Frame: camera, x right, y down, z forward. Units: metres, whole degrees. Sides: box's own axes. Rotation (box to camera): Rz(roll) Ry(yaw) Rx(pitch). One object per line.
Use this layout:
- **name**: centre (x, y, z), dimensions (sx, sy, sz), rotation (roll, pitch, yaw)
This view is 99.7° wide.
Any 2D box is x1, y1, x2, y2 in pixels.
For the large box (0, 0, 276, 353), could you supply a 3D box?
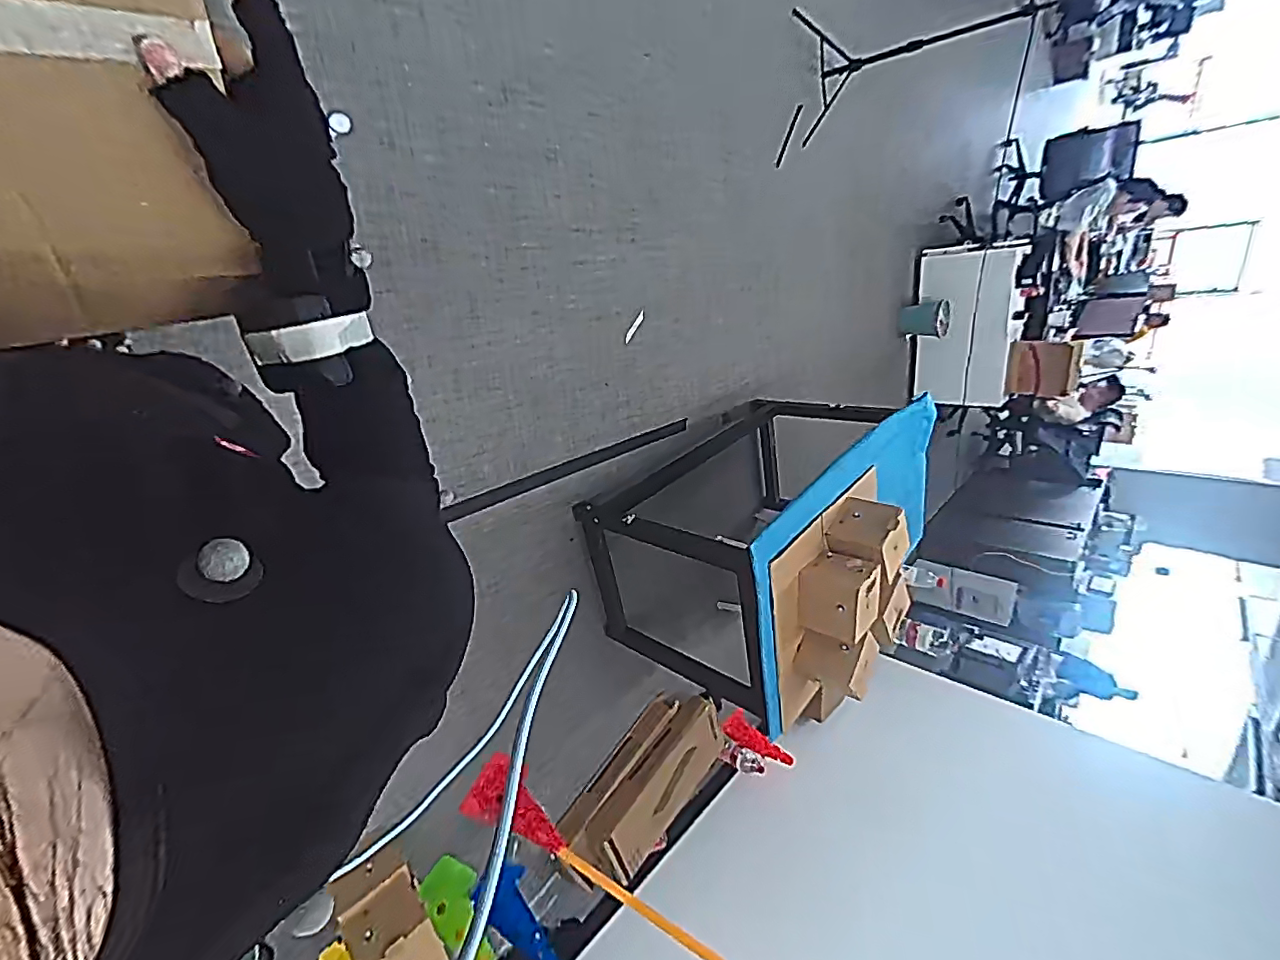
- **large box**: centre (-0.473, -0.254, 0.239), dimensions (0.408, 0.320, 0.320), rotation (-26, 151, -36)
